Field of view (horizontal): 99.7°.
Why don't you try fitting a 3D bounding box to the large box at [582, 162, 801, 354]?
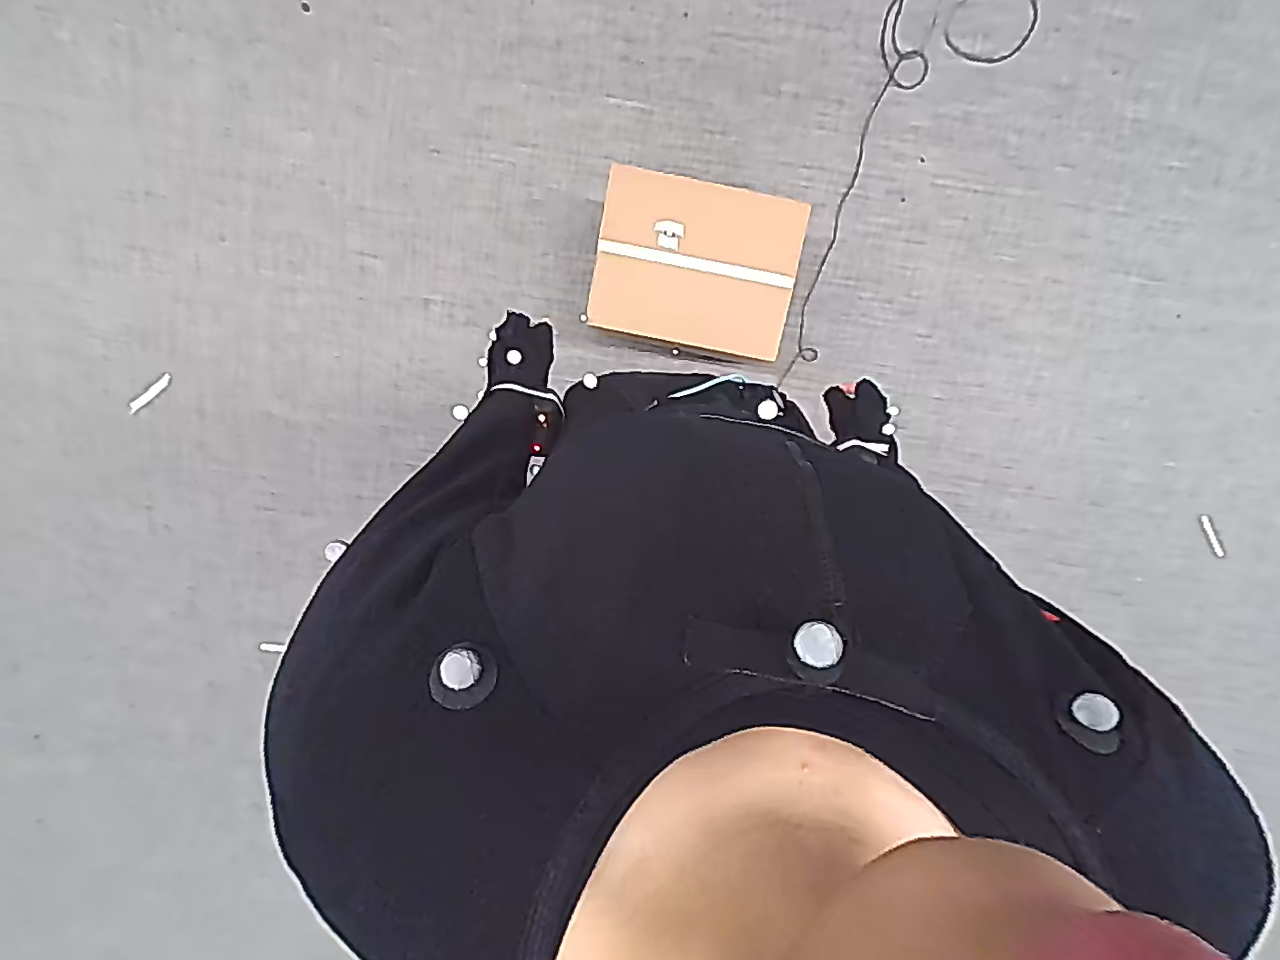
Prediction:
[{"bbox_3d":[0.104,-0.475,1.240,0.408,0.320,0.320,11,101,-2],"label":"large box"}]
